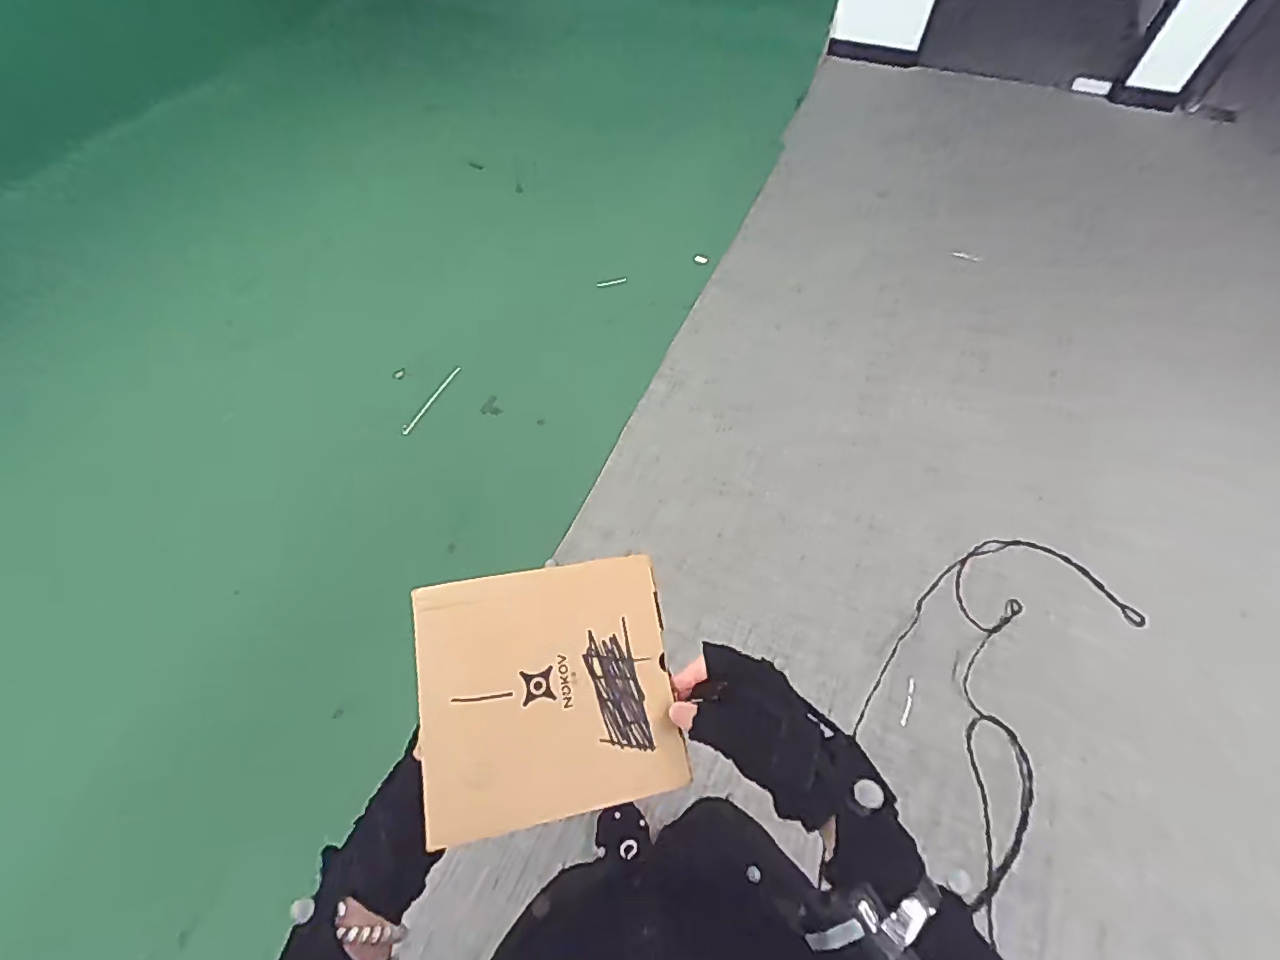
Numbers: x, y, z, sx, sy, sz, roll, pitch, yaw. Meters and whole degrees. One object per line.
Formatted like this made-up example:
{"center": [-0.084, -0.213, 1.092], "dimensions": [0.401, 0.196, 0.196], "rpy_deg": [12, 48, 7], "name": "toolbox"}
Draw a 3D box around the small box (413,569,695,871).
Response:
{"center": [-0.073, 0.176, 0.440], "dimensions": [0.179, 0.176, 0.168], "rpy_deg": [-7, 72, -12], "name": "small box"}
